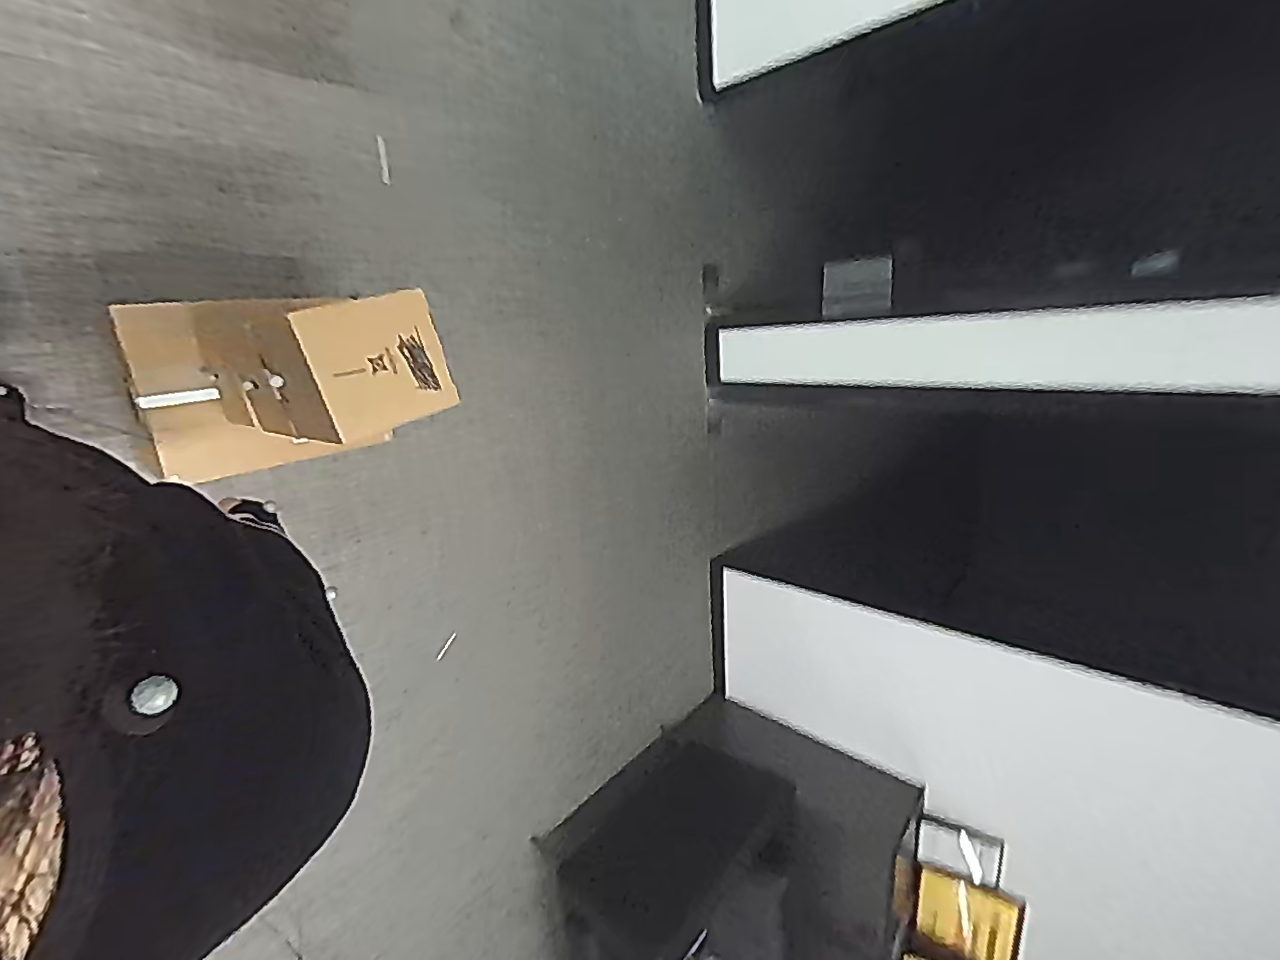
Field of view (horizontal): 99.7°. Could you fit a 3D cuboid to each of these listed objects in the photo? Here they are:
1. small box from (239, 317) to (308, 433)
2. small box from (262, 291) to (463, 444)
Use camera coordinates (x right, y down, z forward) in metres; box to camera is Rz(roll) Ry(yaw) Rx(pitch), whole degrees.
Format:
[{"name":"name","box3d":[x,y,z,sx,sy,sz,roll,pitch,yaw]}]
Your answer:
[{"name":"small box","box3d":[-0.512,-0.181,0.873,0.179,0.176,0.168,-31,119,-40]},{"name":"small box","box3d":[-0.389,-0.162,0.764,0.179,0.176,0.168,-32,119,-40]}]
